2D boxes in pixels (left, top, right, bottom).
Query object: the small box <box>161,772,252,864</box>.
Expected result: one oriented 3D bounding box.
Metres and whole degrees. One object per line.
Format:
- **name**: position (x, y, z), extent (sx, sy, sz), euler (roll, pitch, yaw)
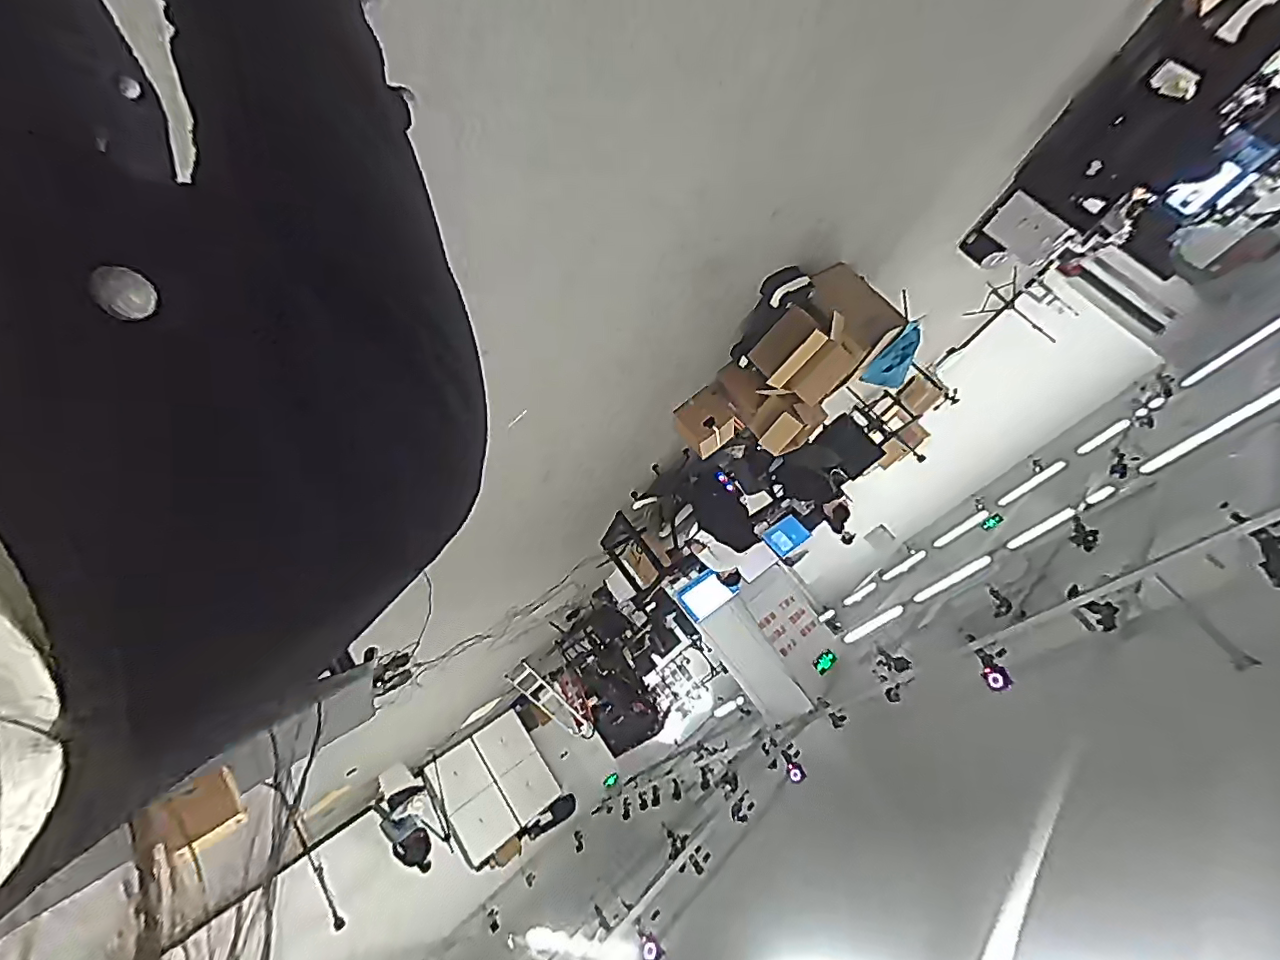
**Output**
- **small box**: position (-1.351, 1.051, 1.684), extent (0.179, 0.176, 0.168), euler (-24, 158, -37)
